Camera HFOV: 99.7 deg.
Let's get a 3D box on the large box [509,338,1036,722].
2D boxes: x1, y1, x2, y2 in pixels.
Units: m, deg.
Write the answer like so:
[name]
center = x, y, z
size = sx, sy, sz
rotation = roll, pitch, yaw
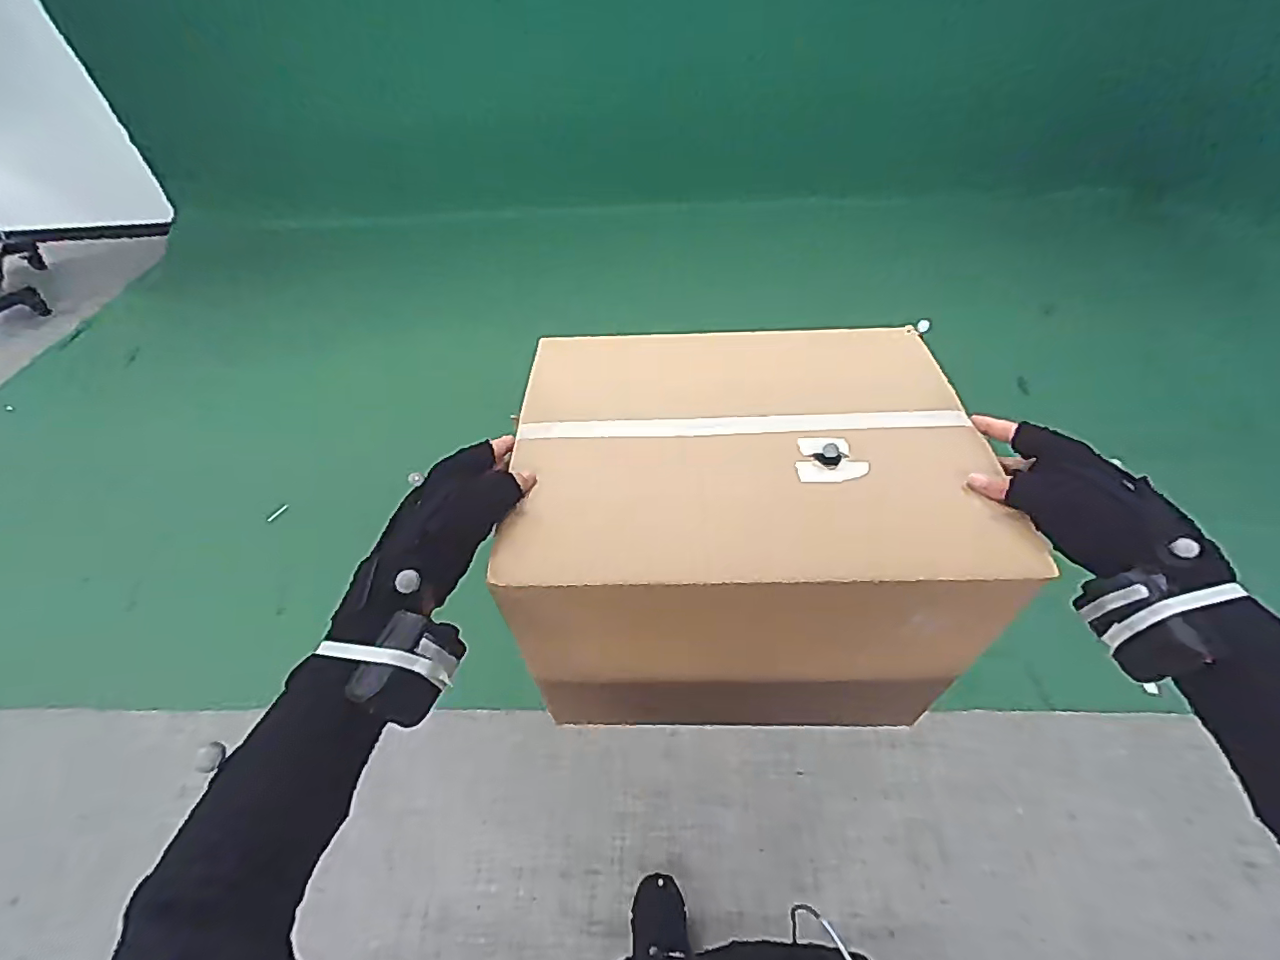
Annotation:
[large box]
center = 0.099, 0.060, 0.610
size = 0.408, 0.320, 0.320
rotation = -1, 49, 1
